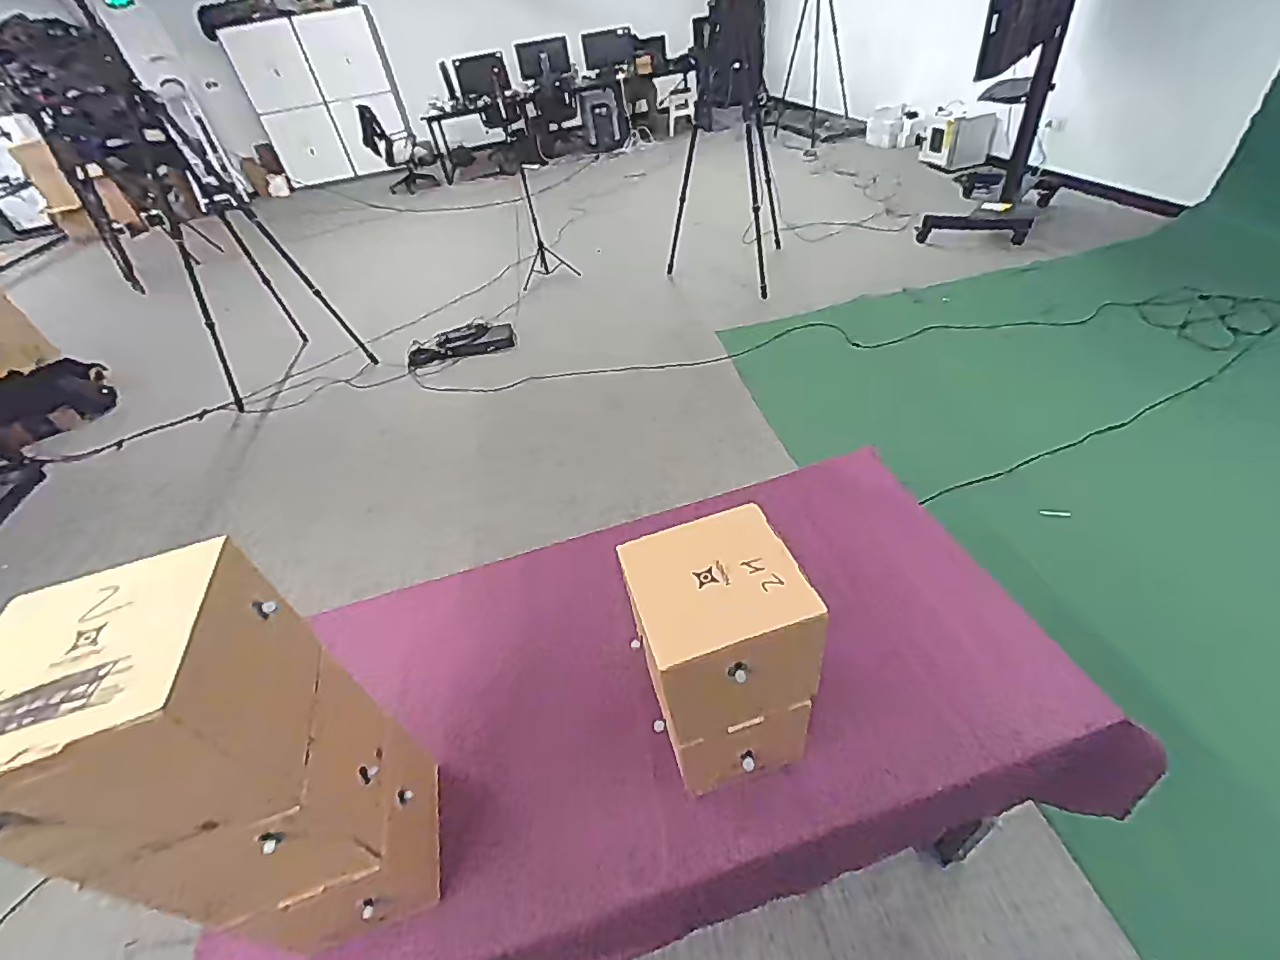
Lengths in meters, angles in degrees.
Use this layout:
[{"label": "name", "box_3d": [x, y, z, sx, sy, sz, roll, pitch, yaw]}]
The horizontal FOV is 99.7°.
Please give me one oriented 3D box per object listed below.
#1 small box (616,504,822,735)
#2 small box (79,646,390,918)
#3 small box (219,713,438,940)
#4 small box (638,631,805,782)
[{"label": "small box", "box_3d": [0.086, 0.161, 0.620, 0.179, 0.176, 0.168, -16, 42, -7]}, {"label": "small box", "box_3d": [-0.383, 0.309, 0.555, 0.179, 0.176, 0.168, -17, 42, -10]}, {"label": "small box", "box_3d": [-0.358, 0.427, 0.664, 0.168, 0.176, 0.179, -16, 42, -8]}, {"label": "small box", "box_3d": [0.105, 0.282, 0.731, 0.168, 0.176, 0.179, -16, 43, -6]}]
